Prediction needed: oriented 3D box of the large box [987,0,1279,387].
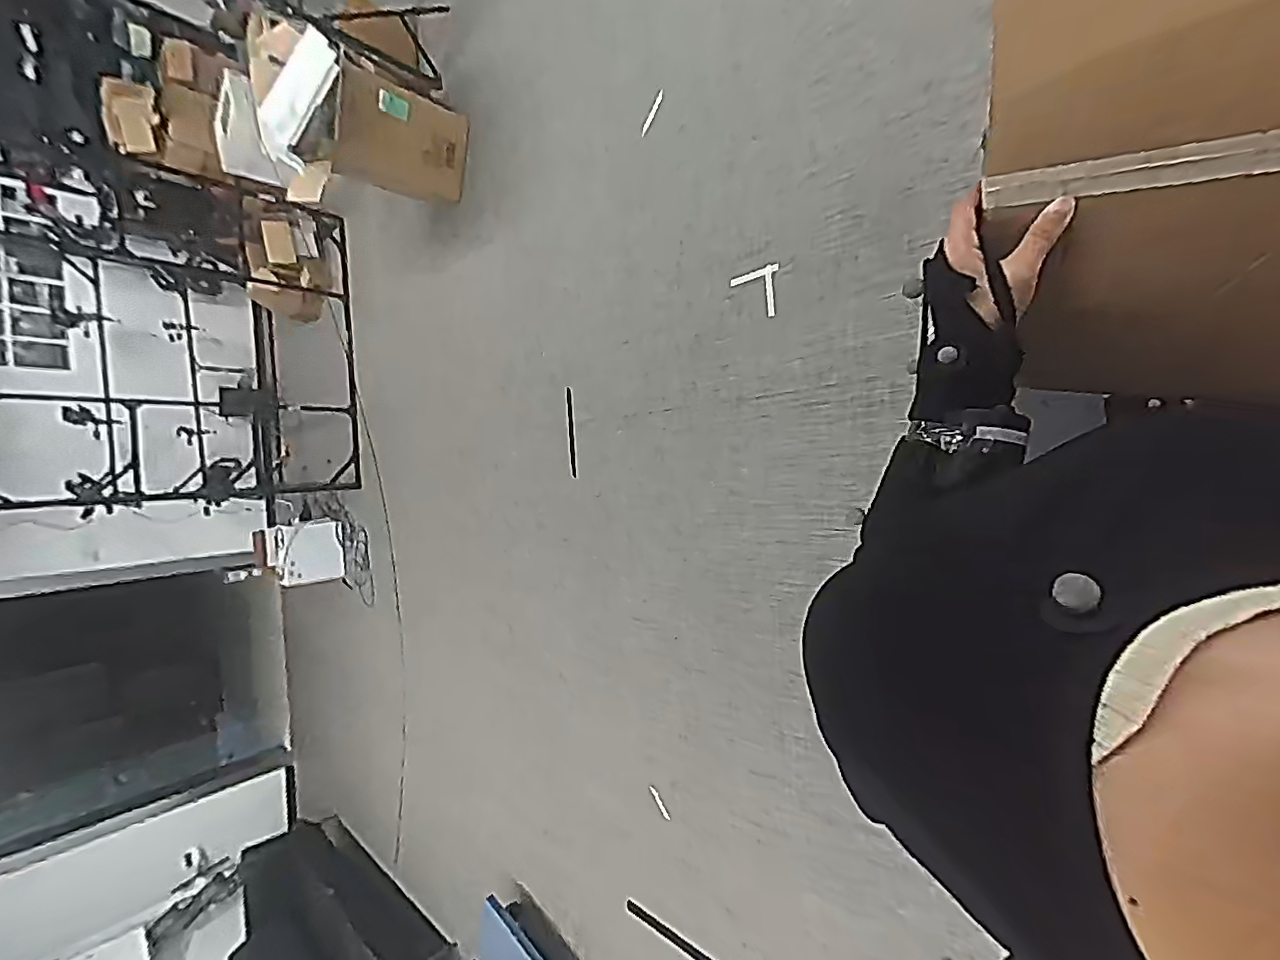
[{"bbox_3d":[0.491,-0.264,0.342,0.408,0.320,0.320,13,135,43],"label":"large box"}]
